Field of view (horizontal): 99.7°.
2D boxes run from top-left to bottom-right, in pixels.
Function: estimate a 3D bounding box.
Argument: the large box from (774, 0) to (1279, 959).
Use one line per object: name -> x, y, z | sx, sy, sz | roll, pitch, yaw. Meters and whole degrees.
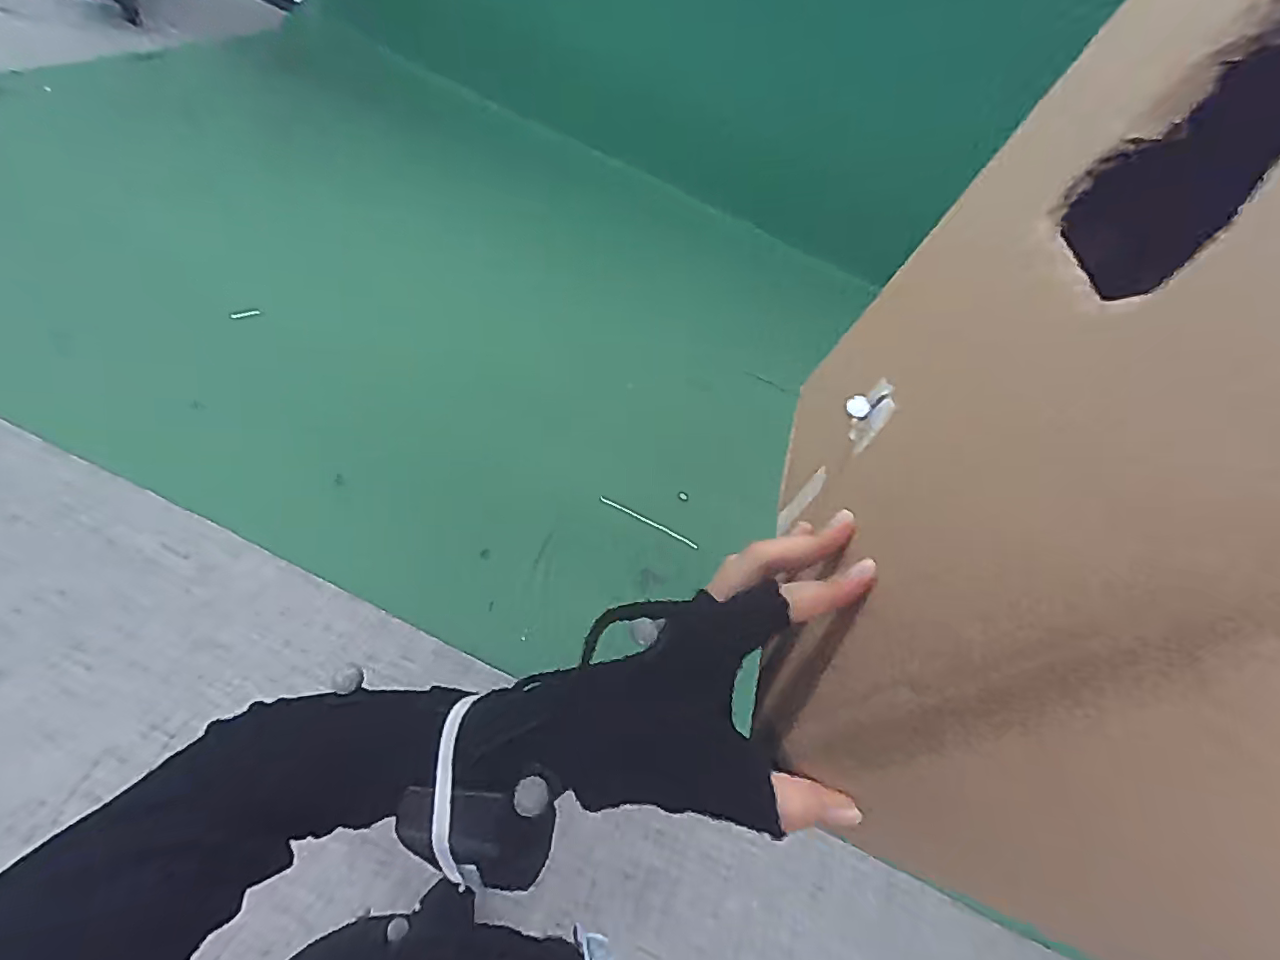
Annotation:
large box -> 0.325, 0.043, 0.259 | 0.408, 0.320, 0.320 | 28, 48, -6
